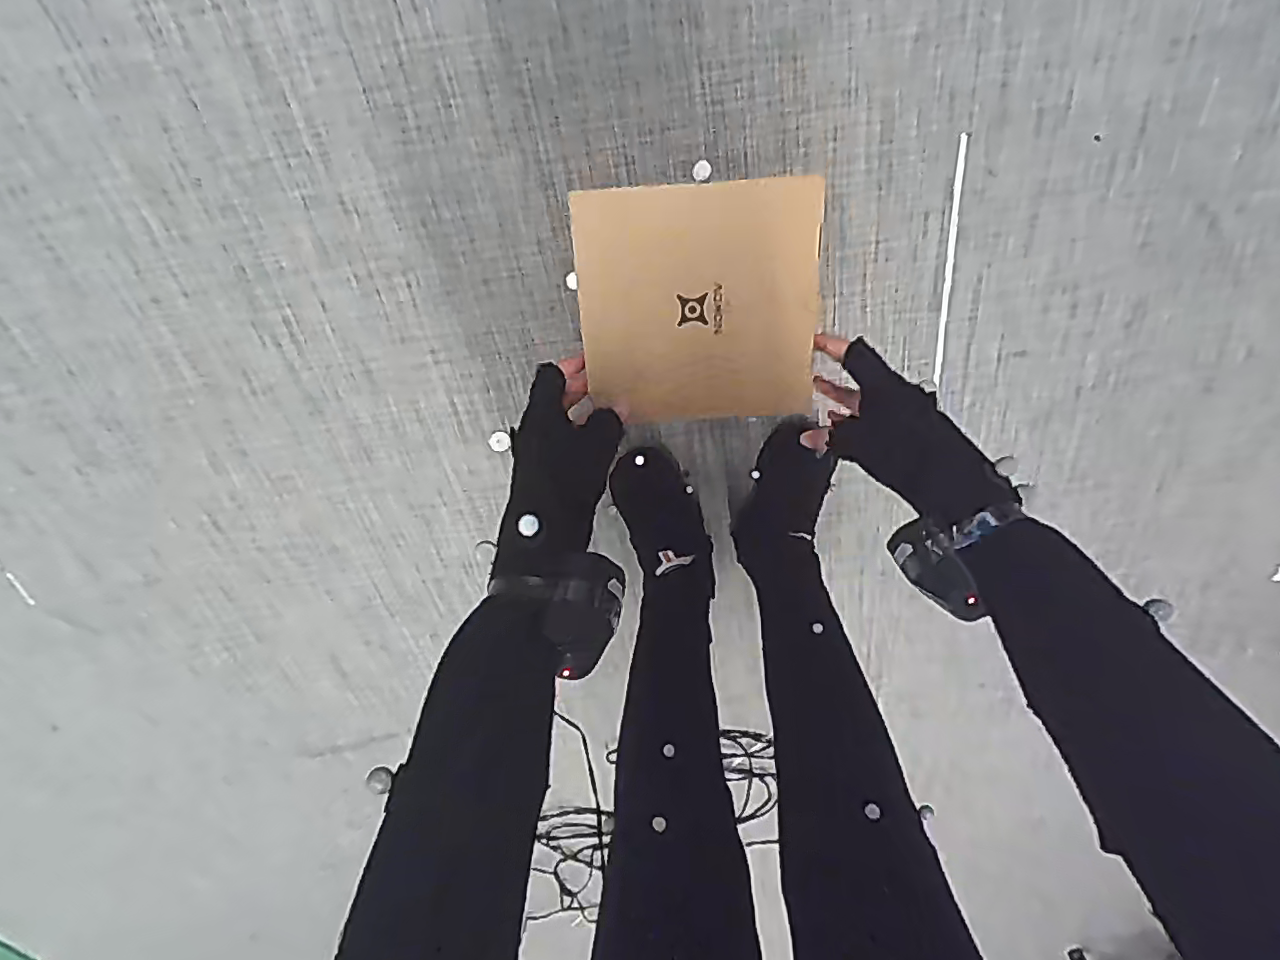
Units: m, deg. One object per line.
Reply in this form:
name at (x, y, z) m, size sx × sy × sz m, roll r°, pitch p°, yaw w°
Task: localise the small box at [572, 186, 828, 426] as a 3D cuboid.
small box at (0.043, -0.152, 0.469) m, size 0.179 × 0.176 × 0.168 m, roll -3°, pitch 114°, yaw 0°
